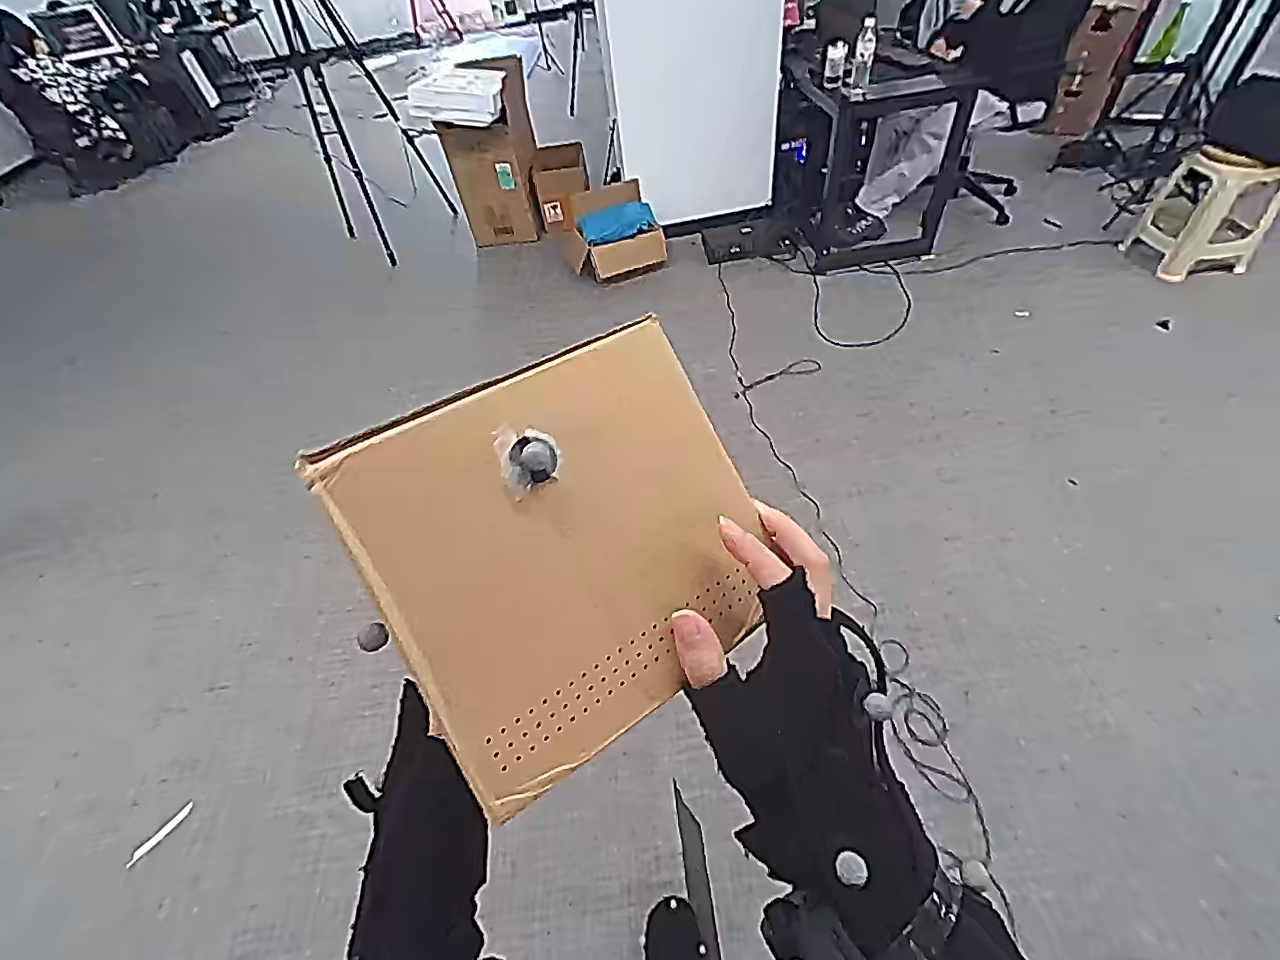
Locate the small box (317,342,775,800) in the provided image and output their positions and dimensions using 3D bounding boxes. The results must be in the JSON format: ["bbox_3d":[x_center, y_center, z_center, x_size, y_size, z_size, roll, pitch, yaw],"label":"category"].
[{"bbox_3d":[-0.053,0.049,0.333,0.179,0.168,0.176,-29,91,-21],"label":"small box"}]
